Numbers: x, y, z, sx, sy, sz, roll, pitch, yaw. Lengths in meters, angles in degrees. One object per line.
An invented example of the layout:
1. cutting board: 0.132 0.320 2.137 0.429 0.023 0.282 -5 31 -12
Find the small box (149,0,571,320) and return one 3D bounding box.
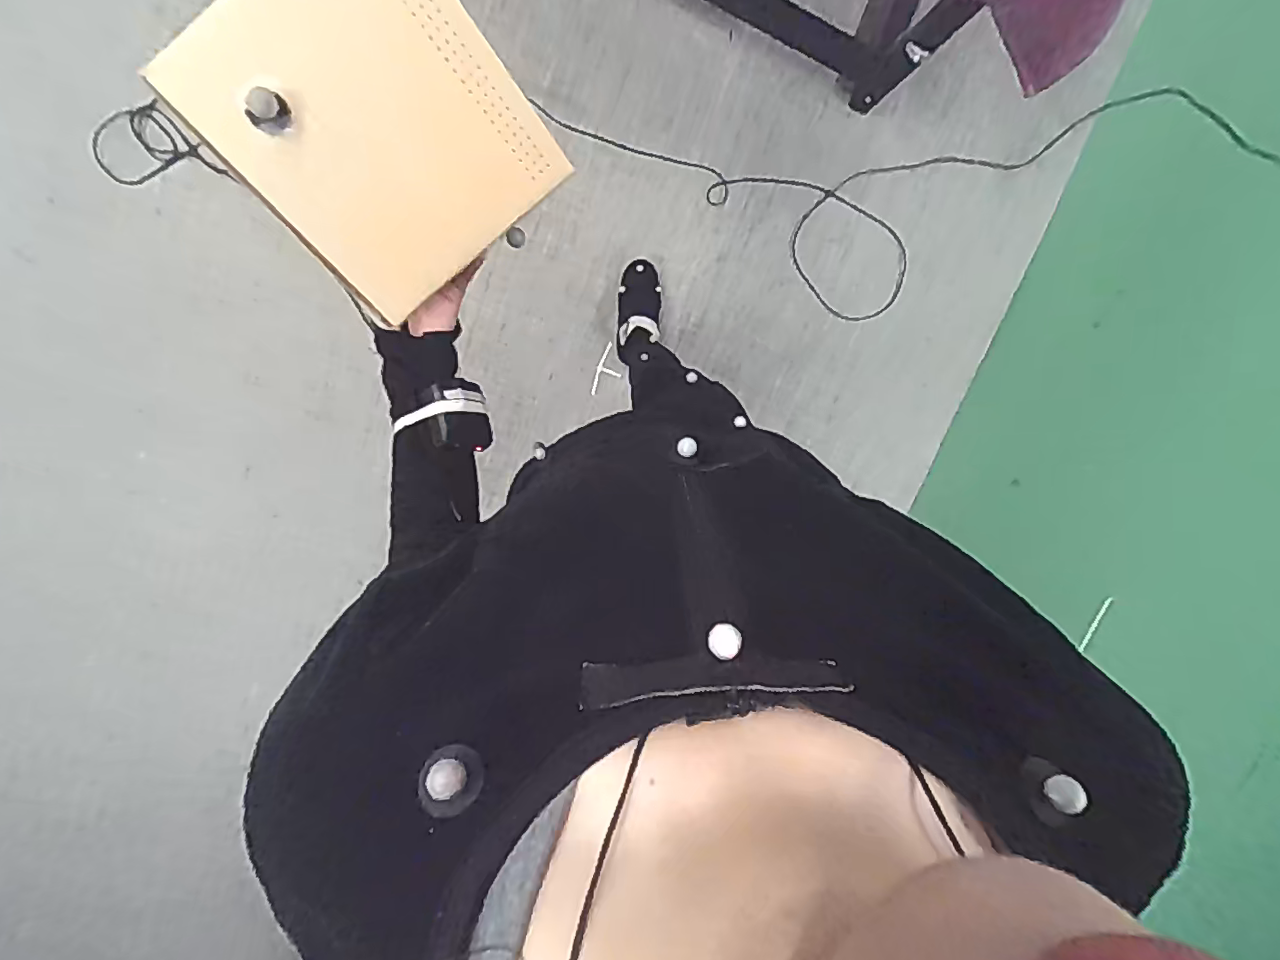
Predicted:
1. small box: -0.178 -0.250 0.399 0.176 0.168 0.179 -40 118 4
